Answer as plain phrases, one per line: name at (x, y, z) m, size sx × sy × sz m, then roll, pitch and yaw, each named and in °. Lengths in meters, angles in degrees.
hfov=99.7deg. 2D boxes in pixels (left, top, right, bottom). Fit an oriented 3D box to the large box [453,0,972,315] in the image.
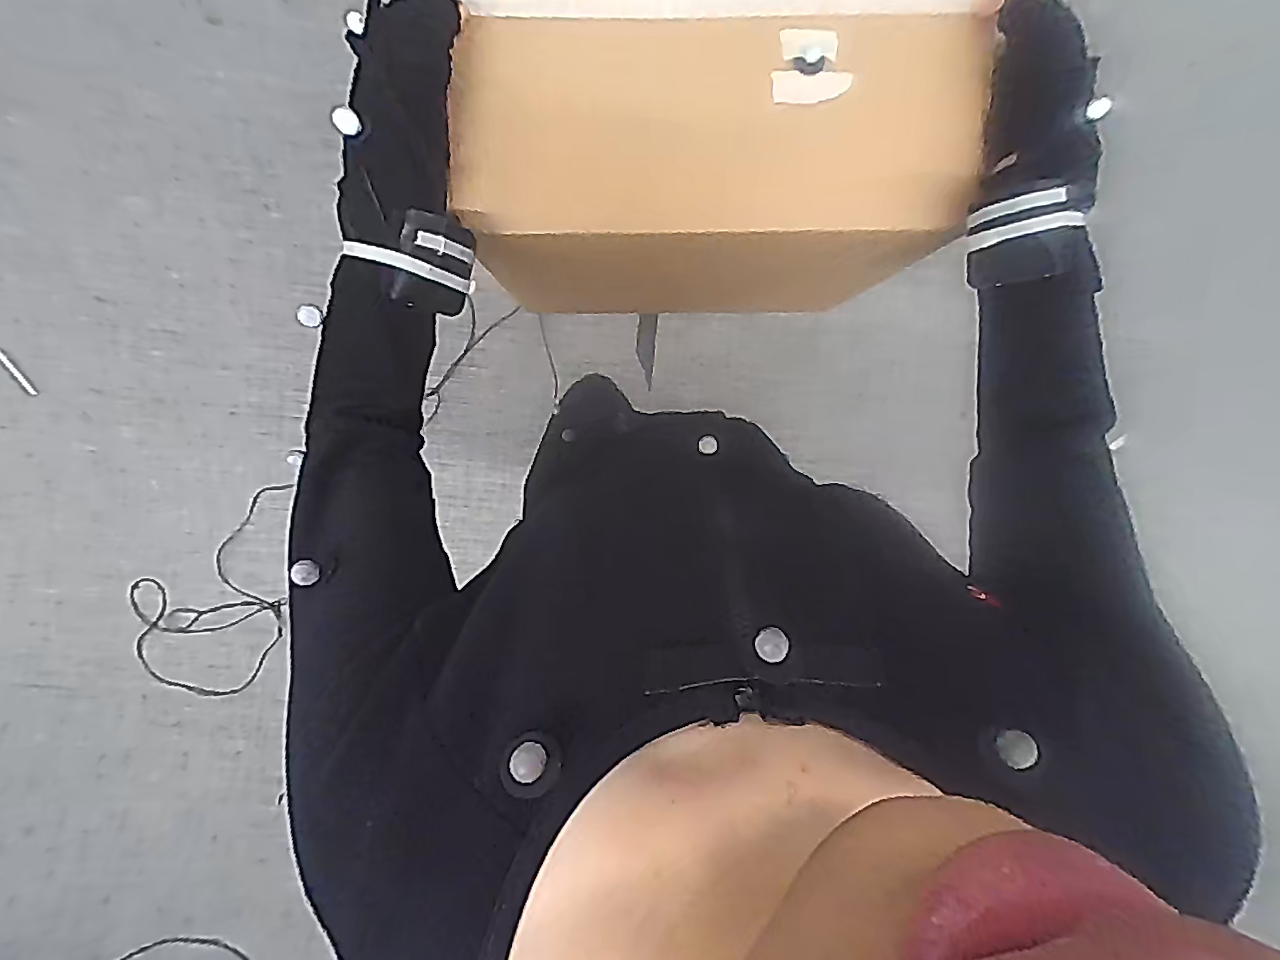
large box at (0.051, -0.364, 0.559) m, size 0.408 × 0.320 × 0.320 m, roll -1°, pitch 96°, yaw -2°
